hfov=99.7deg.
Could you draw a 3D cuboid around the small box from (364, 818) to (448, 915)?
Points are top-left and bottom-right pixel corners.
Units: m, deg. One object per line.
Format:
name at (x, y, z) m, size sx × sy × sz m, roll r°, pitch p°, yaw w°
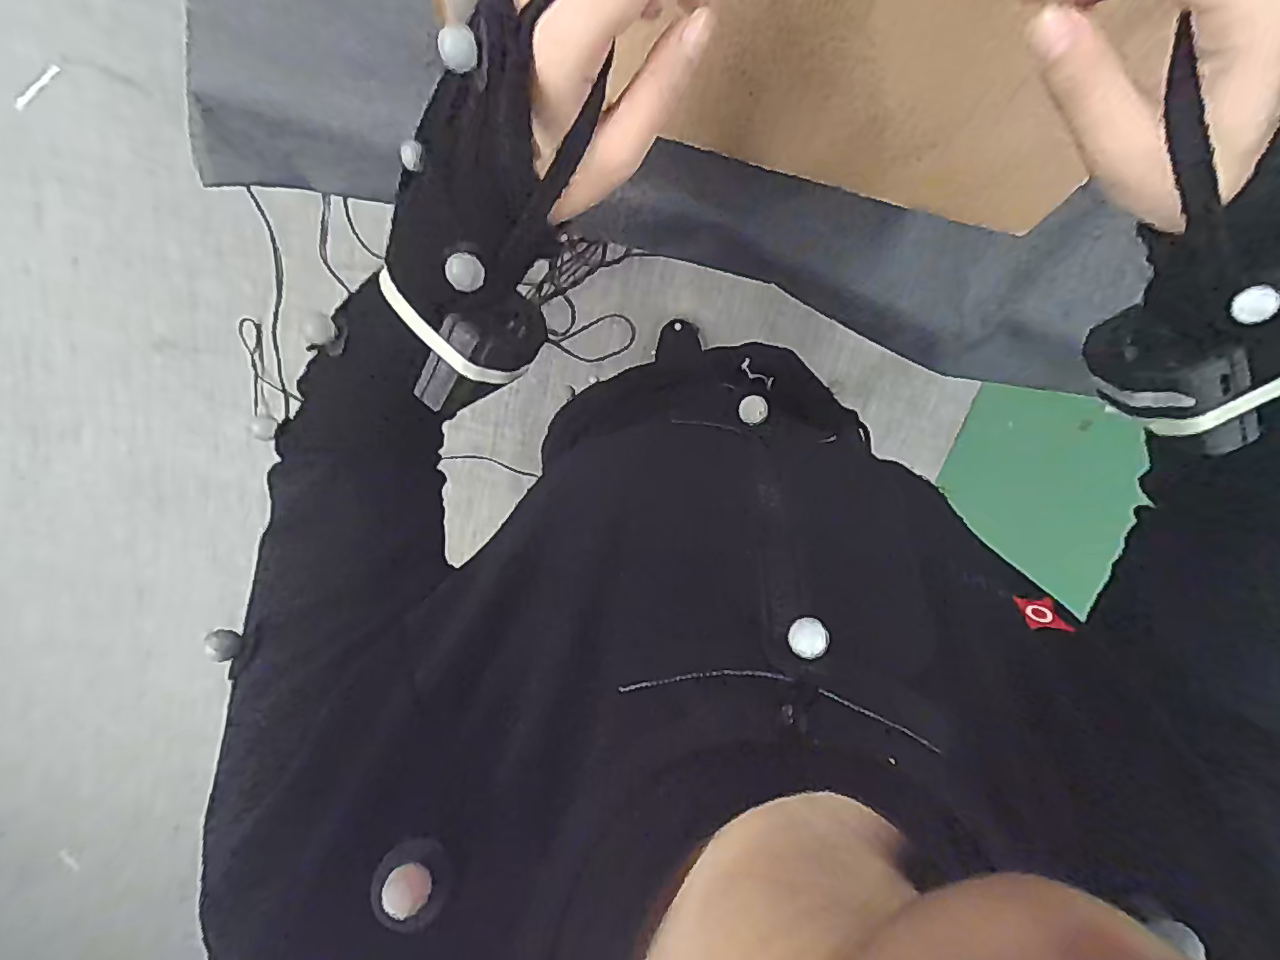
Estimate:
small box at (-0.730, 1.204, 1.696) m, size 0.179 × 0.176 × 0.168 m, roll 15°, pitch 107°, yaw -3°
